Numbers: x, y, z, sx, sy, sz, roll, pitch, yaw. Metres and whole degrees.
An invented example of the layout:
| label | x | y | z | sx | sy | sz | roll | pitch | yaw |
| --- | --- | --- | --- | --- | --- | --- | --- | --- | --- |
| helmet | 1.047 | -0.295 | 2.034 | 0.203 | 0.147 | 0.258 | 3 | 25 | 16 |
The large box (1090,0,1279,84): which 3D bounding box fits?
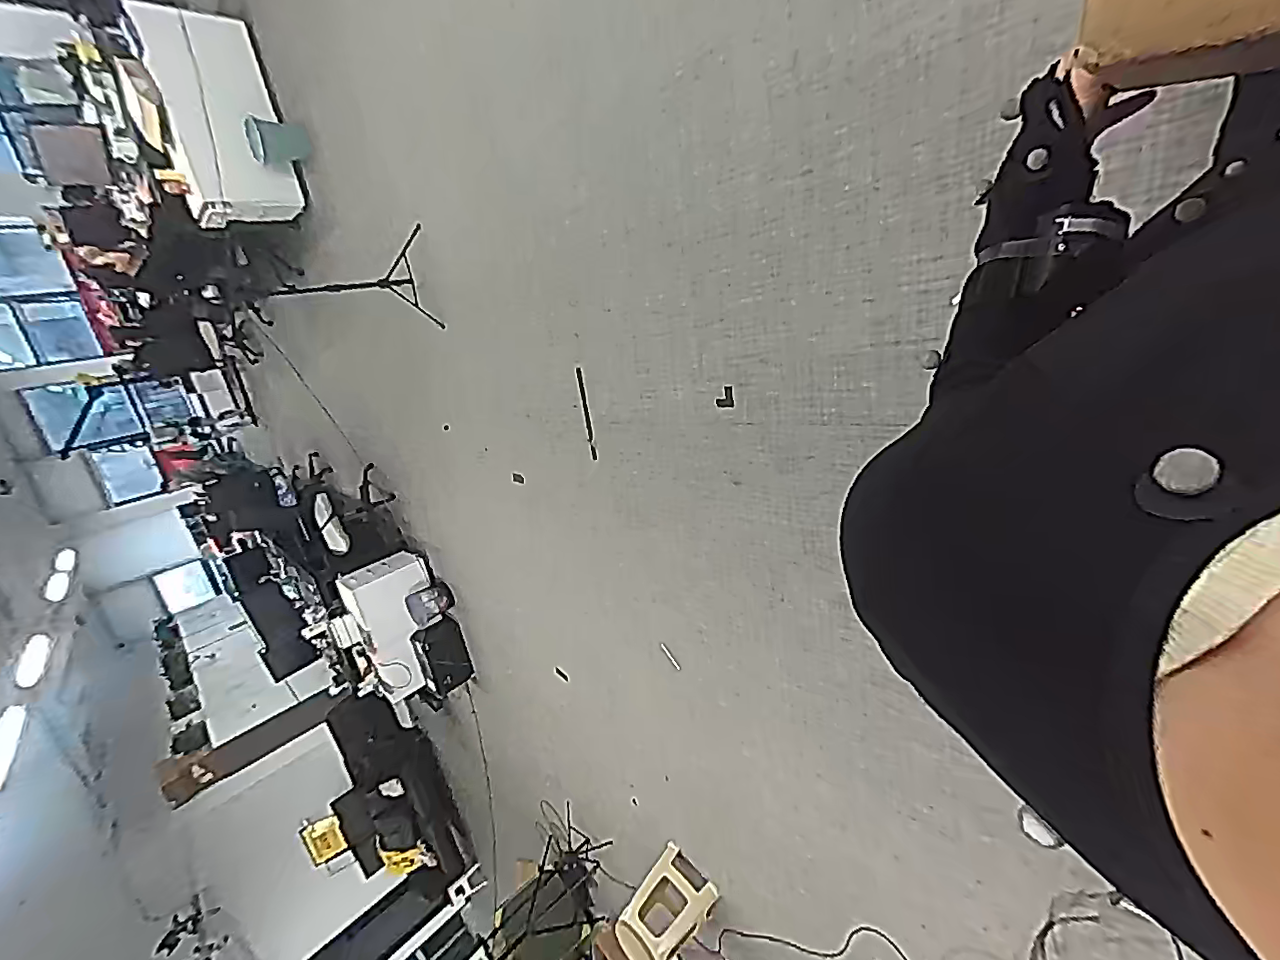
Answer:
| label | x | y | z | sx | sy | sz | roll | pitch | yaw |
| --- | --- | --- | --- | --- | --- | --- | --- | --- | --- |
| large box | 0.407 | -0.337 | 0.135 | 0.408 | 0.320 | 0.320 | 15 | 126 | 36 |
